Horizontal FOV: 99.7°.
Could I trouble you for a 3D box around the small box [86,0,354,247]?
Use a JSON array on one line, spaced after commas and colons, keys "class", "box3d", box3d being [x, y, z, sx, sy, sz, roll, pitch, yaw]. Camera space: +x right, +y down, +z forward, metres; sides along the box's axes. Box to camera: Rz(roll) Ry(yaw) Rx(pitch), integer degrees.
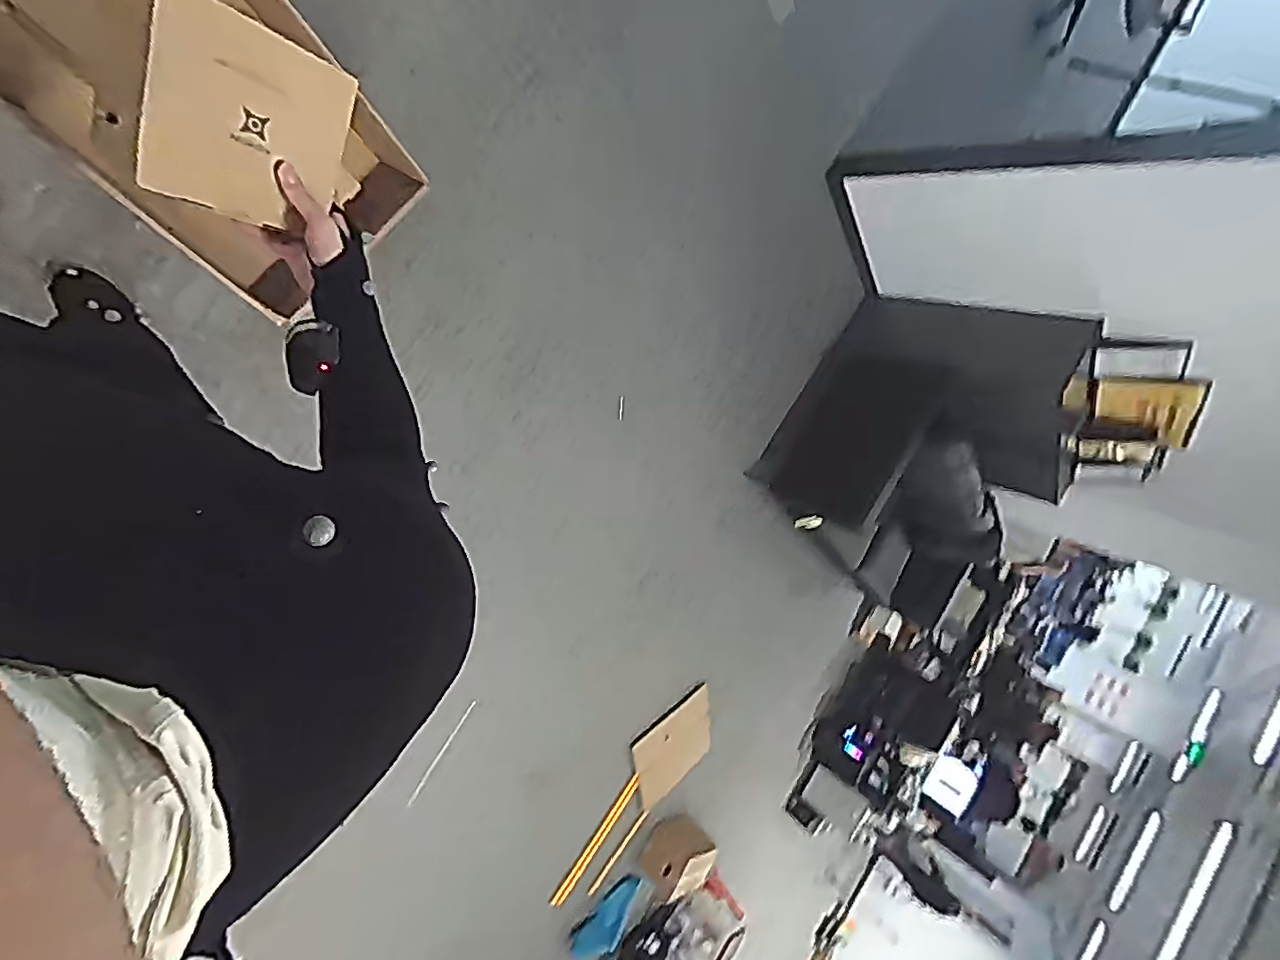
[{"class": "small box", "box3d": [-0.432, -0.374, 0.555, 0.168, 0.176, 0.179, -4, 124, -56]}]
